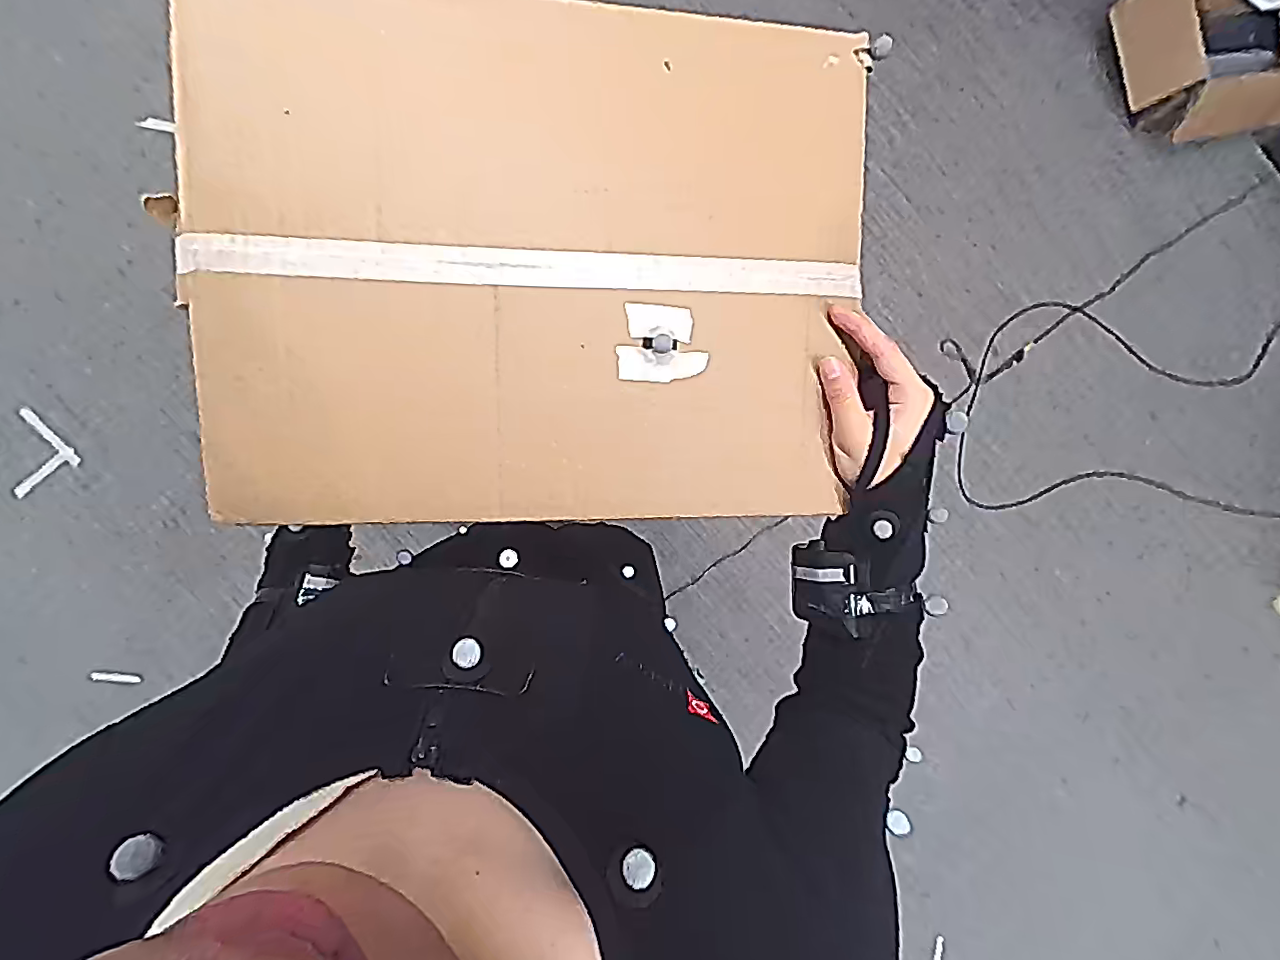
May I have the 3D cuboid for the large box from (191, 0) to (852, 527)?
[{"bbox_3d":[-0.076,-0.146,0.491,0.408,0.320,0.320,-2,97,-9],"label":"large box"}]
